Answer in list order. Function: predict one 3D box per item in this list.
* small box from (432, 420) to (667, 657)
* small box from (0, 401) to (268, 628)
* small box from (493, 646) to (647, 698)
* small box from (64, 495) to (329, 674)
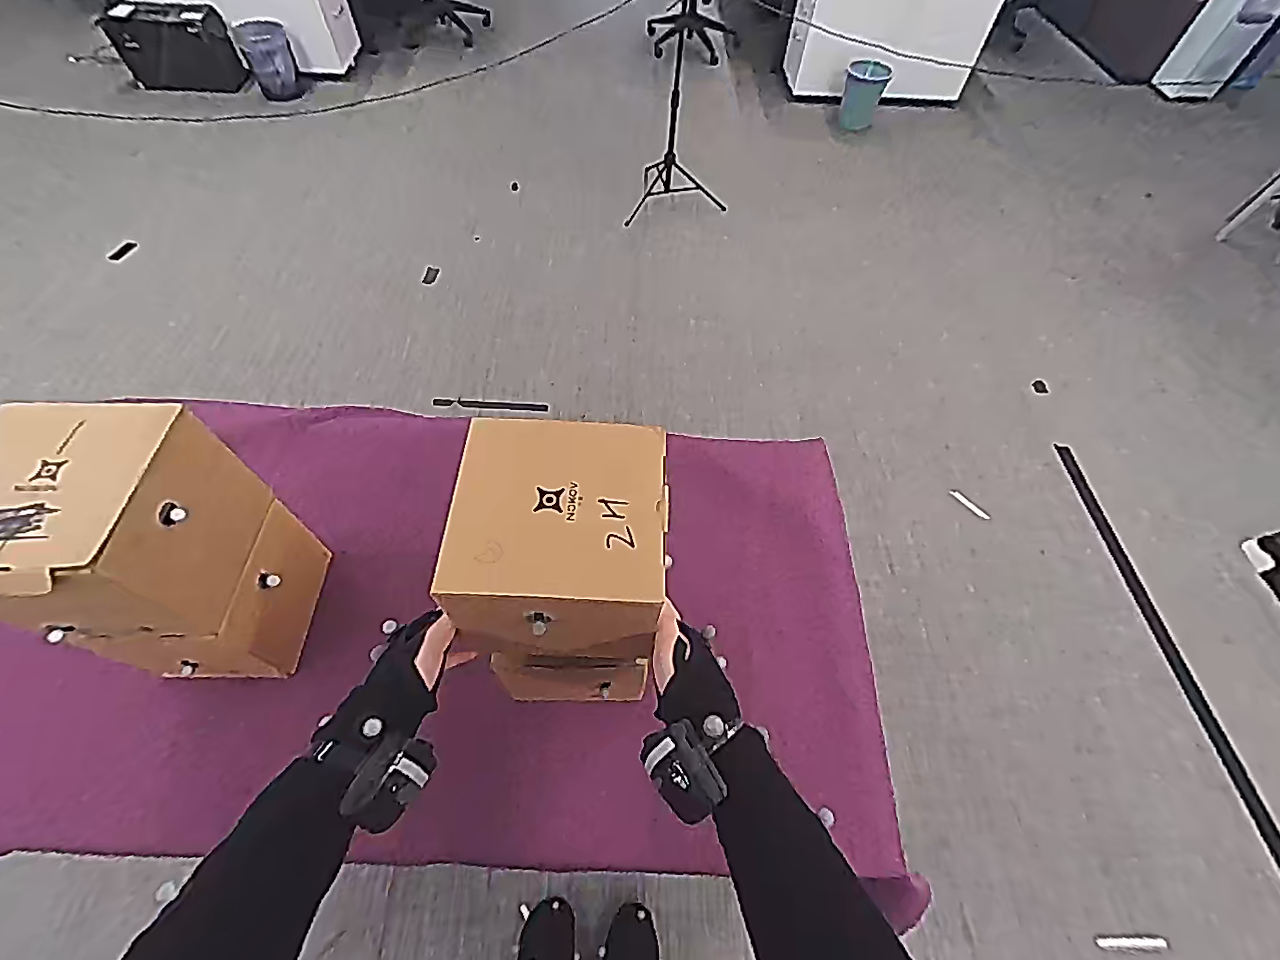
[{"bbox_3d":[-0.069,0.062,0.511,0.179,0.176,0.168,4,58,-2],"label":"small box"},{"bbox_3d":[-0.516,0.042,0.538,0.168,0.176,0.179,0,57,-3],"label":"small box"},{"bbox_3d":[-0.074,0.167,0.675,0.168,0.176,0.179,2,57,-2],"label":"small box"},{"bbox_3d":[-0.523,0.132,0.676,0.168,0.176,0.179,1,58,-3],"label":"small box"}]
